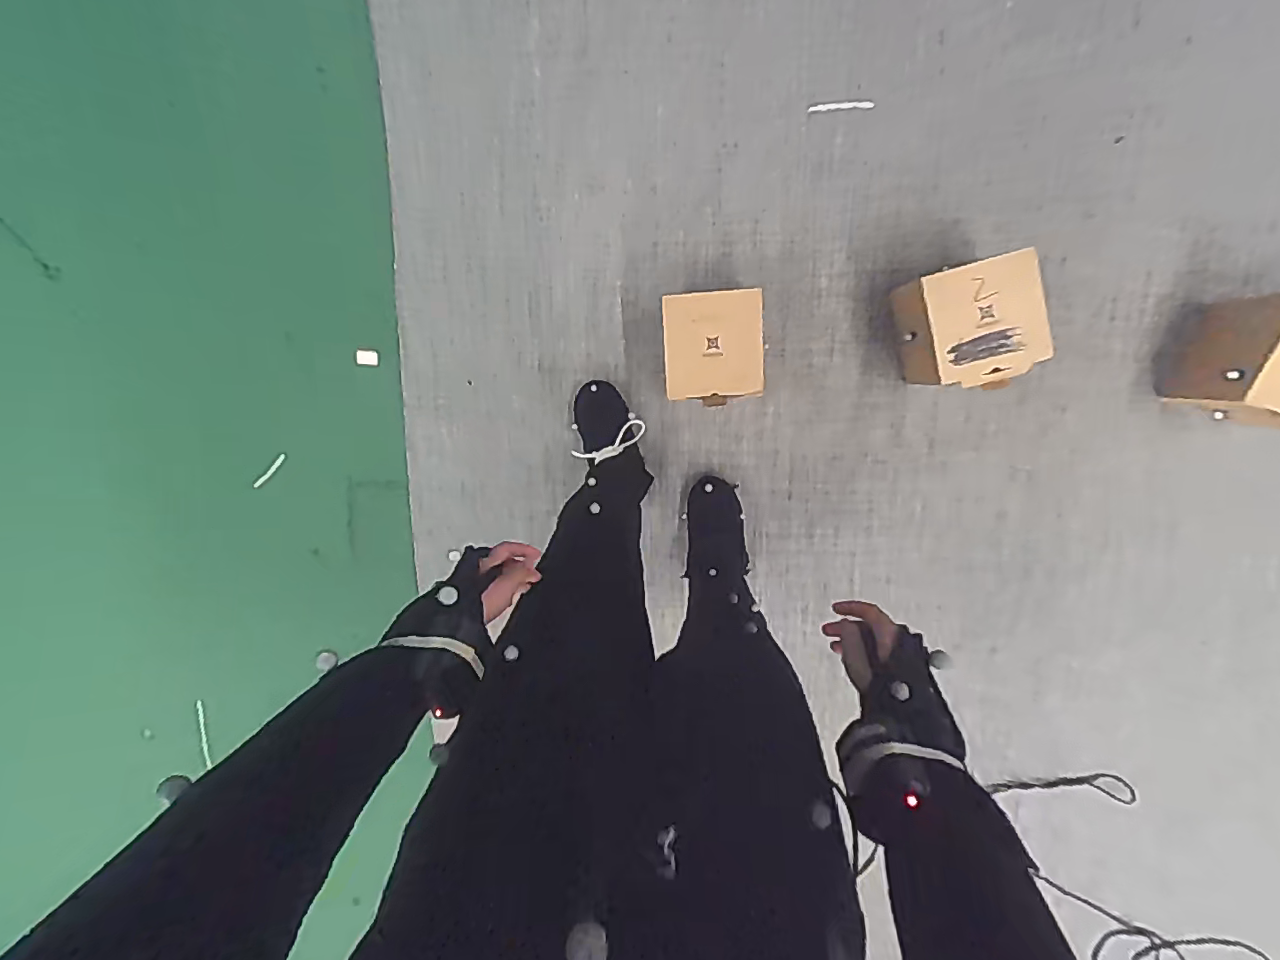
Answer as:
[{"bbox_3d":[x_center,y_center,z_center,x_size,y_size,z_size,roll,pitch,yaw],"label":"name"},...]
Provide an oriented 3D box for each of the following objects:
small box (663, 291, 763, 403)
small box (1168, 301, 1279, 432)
[{"bbox_3d":[0.133,-0.235,0.978,0.168,0.176,0.179,-2,100,7],"label":"small box"},{"bbox_3d":[1.022,-0.181,0.864,0.168,0.176,0.179,19,104,3],"label":"small box"}]
